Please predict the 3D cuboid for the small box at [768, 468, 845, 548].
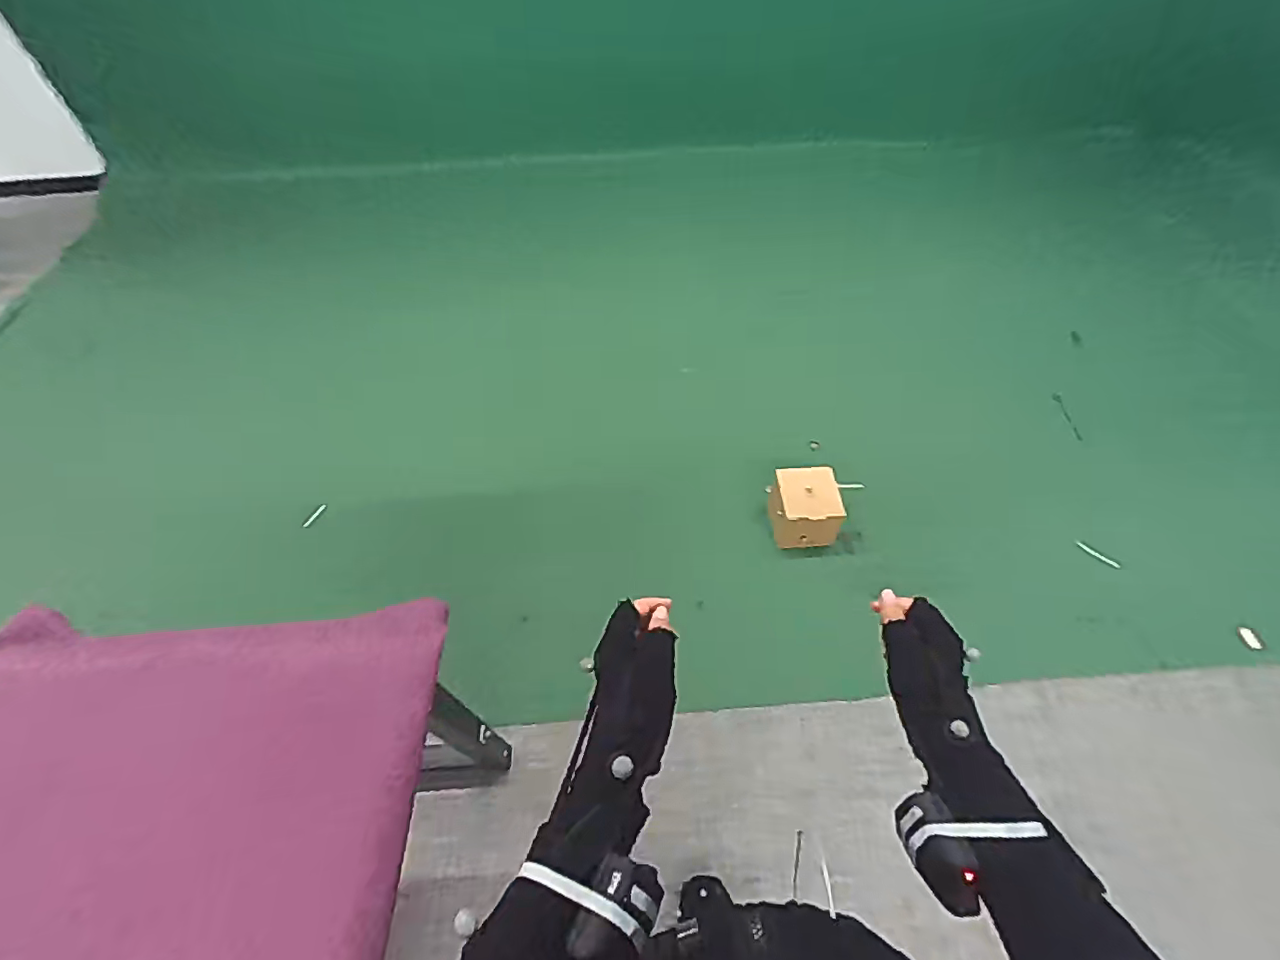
[{"bbox_3d":[0.490,0.086,1.622,0.168,0.176,0.179,-4,54,0],"label":"small box"}]
